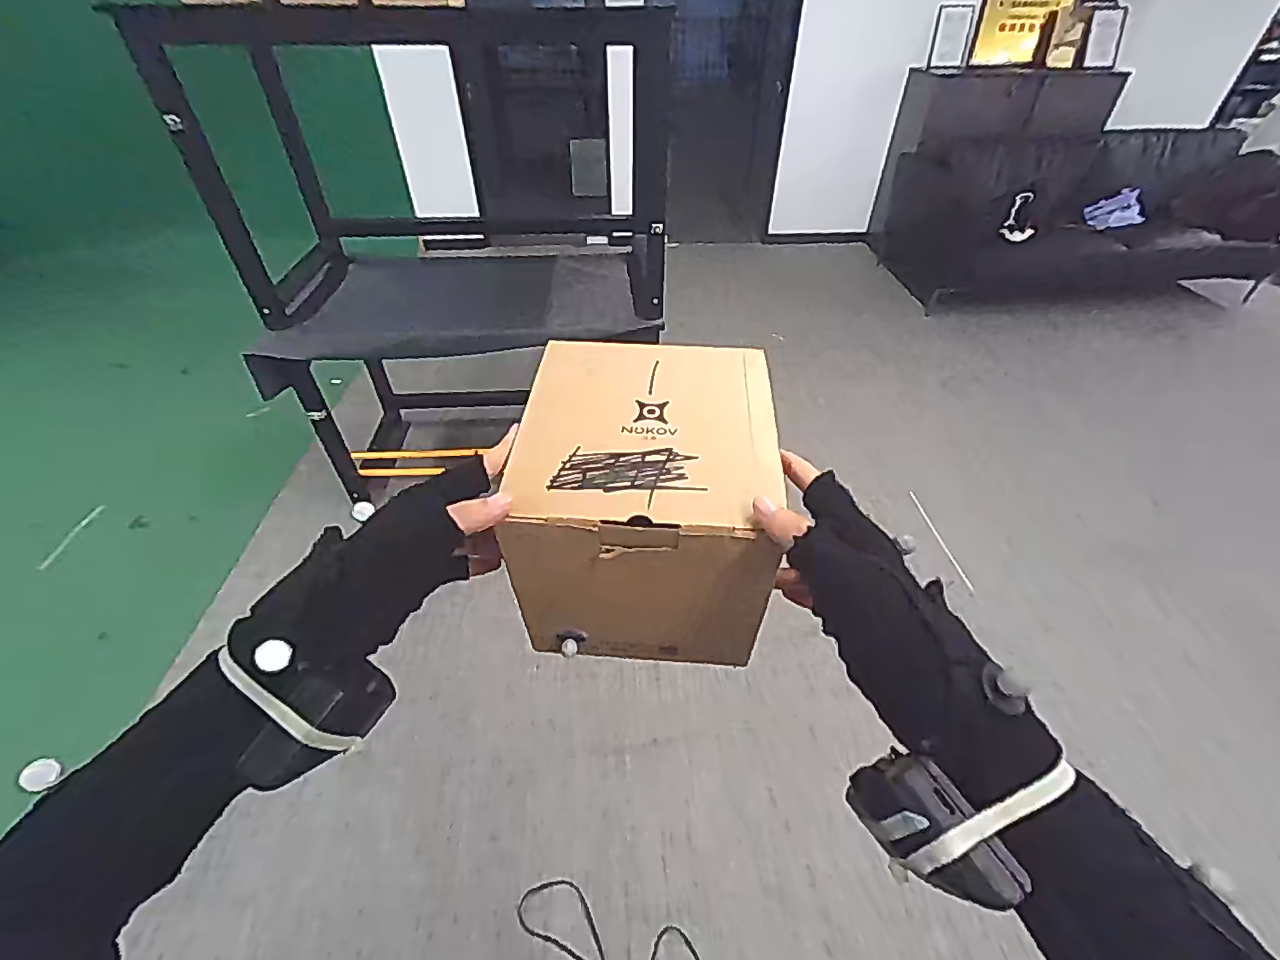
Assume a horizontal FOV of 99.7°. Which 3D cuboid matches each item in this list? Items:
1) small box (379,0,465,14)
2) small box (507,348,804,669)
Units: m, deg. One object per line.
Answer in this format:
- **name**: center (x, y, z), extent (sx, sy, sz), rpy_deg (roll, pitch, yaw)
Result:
- **small box**: center (-0.493, -1.146, 1.190), extent (0.168, 0.176, 0.179), rpy_deg (-1, 43, -2)
- **small box**: center (0.014, 0.023, 0.404), extent (0.168, 0.176, 0.179), rpy_deg (4, 46, 3)
